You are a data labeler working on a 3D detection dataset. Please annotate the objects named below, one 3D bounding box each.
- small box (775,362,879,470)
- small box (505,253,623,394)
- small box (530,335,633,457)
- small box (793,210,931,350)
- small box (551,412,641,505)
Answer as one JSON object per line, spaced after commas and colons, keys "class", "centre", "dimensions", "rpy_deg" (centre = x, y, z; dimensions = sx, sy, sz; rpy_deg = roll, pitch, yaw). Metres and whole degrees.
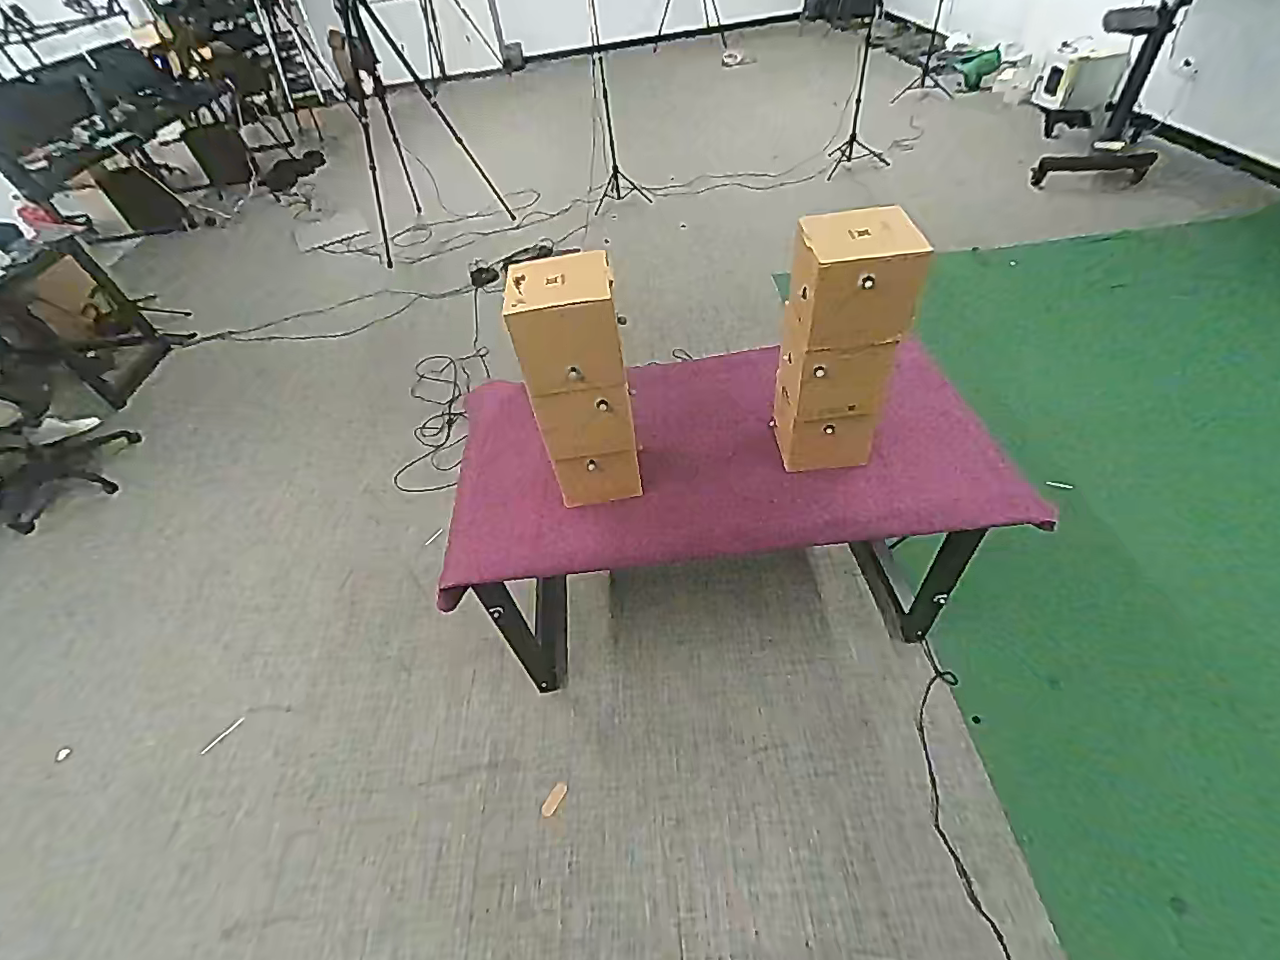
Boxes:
{"class": "small box", "centre": [0.400, -0.137, 1.191], "dimensions": [0.179, 0.176, 0.168], "rpy_deg": [-5, 48, 3]}
{"class": "small box", "centre": [-0.123, -0.270, 0.945], "dimensions": [0.179, 0.176, 0.168], "rpy_deg": [-7, 48, 1]}
{"class": "small box", "centre": [-0.107, -0.165, 1.069], "dimensions": [0.179, 0.176, 0.168], "rpy_deg": [-8, 47, 2]}
{"class": "small box", "centre": [0.367, -0.341, 0.937], "dimensions": [0.179, 0.176, 0.168], "rpy_deg": [-4, 49, 5]}
{"class": "small box", "centre": [-0.093, -0.066, 1.202], "dimensions": [0.179, 0.176, 0.168], "rpy_deg": [-9, 48, 1]}
